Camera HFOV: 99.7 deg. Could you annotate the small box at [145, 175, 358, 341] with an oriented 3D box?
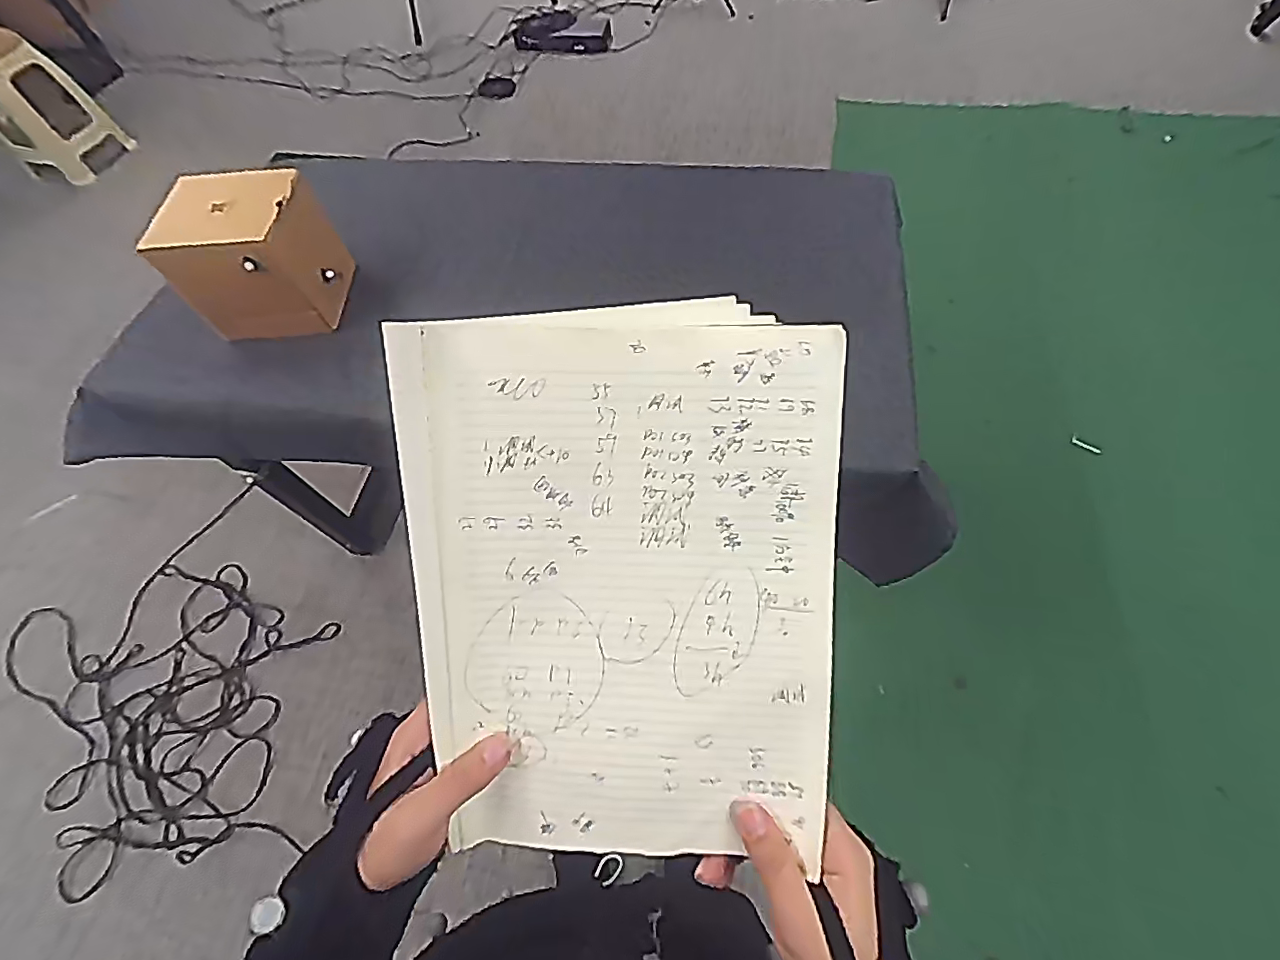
[{"bbox_3d":[-0.568,-0.329,0.819,0.179,0.176,0.168,-4,59,1],"label":"small box"}]
